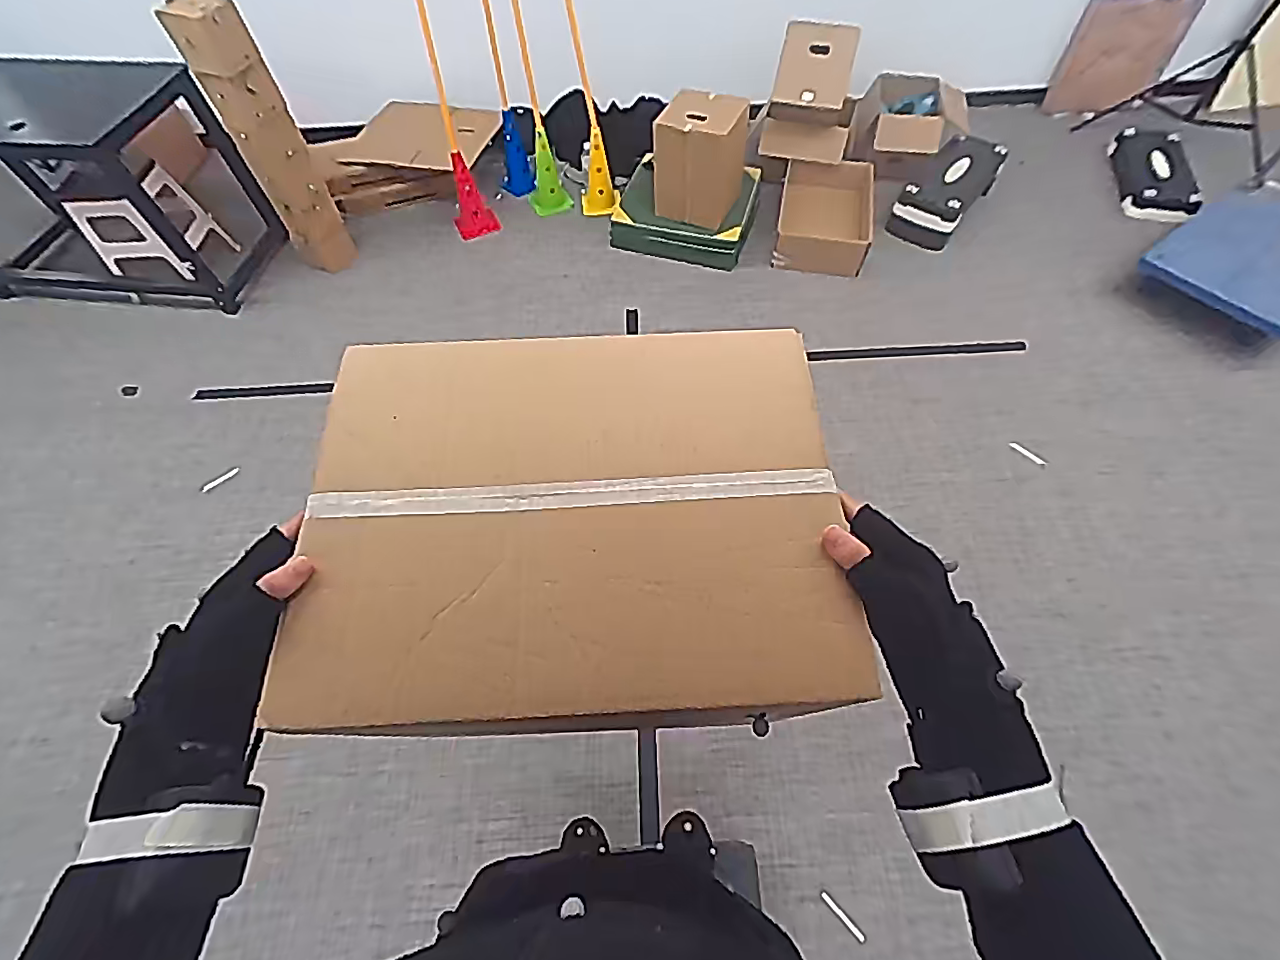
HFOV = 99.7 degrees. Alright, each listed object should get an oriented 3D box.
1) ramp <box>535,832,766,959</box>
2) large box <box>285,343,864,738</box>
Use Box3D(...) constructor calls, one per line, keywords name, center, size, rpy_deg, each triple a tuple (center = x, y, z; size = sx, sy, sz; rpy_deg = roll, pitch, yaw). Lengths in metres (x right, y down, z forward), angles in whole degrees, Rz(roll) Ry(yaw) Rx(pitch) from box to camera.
Box3D(name="ramp", center=(0.037, 1.270, 1.036), size=(0.509, 0.206, 0.991), rpy_deg=(-4, 59, -2))
Box3D(name="large box", center=(-0.048, 0.086, 0.564), size=(0.408, 0.320, 0.320), rpy_deg=(-3, 63, -1))
